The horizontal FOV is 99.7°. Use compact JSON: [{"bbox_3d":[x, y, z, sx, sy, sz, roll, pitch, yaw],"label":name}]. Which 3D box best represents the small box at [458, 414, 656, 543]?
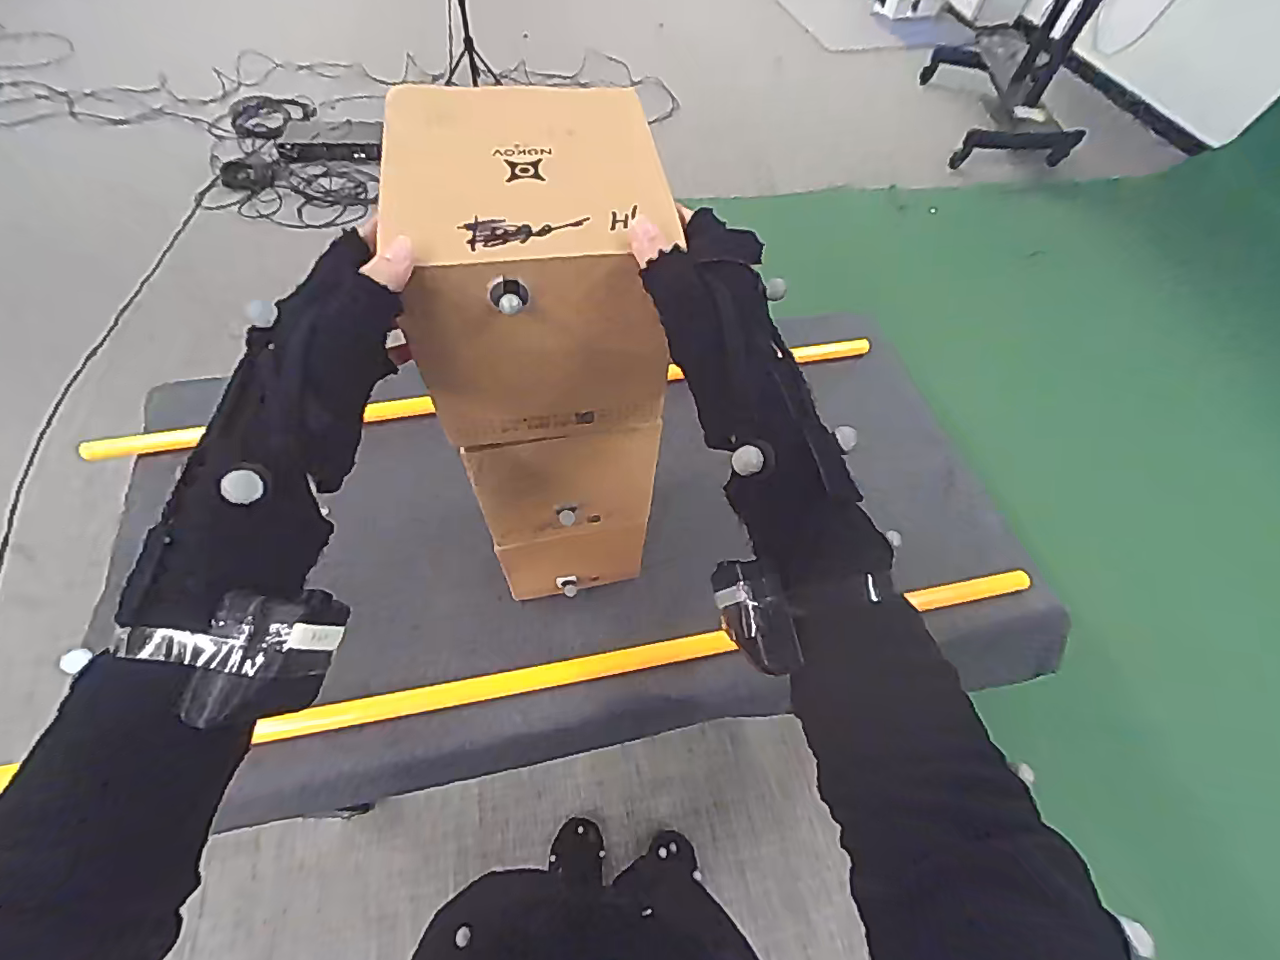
[{"bbox_3d":[-0.087,-0.059,0.553,0.168,0.176,0.179,-10,59,-9],"label":"small box"}]

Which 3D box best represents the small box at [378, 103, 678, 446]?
[{"bbox_3d":[-0.077,-0.148,0.405,0.168,0.176,0.179,-7,60,-8],"label":"small box"}]

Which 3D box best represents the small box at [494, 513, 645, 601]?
[{"bbox_3d":[-0.097,0.032,0.690,0.168,0.176,0.179,-11,60,-10],"label":"small box"}]
